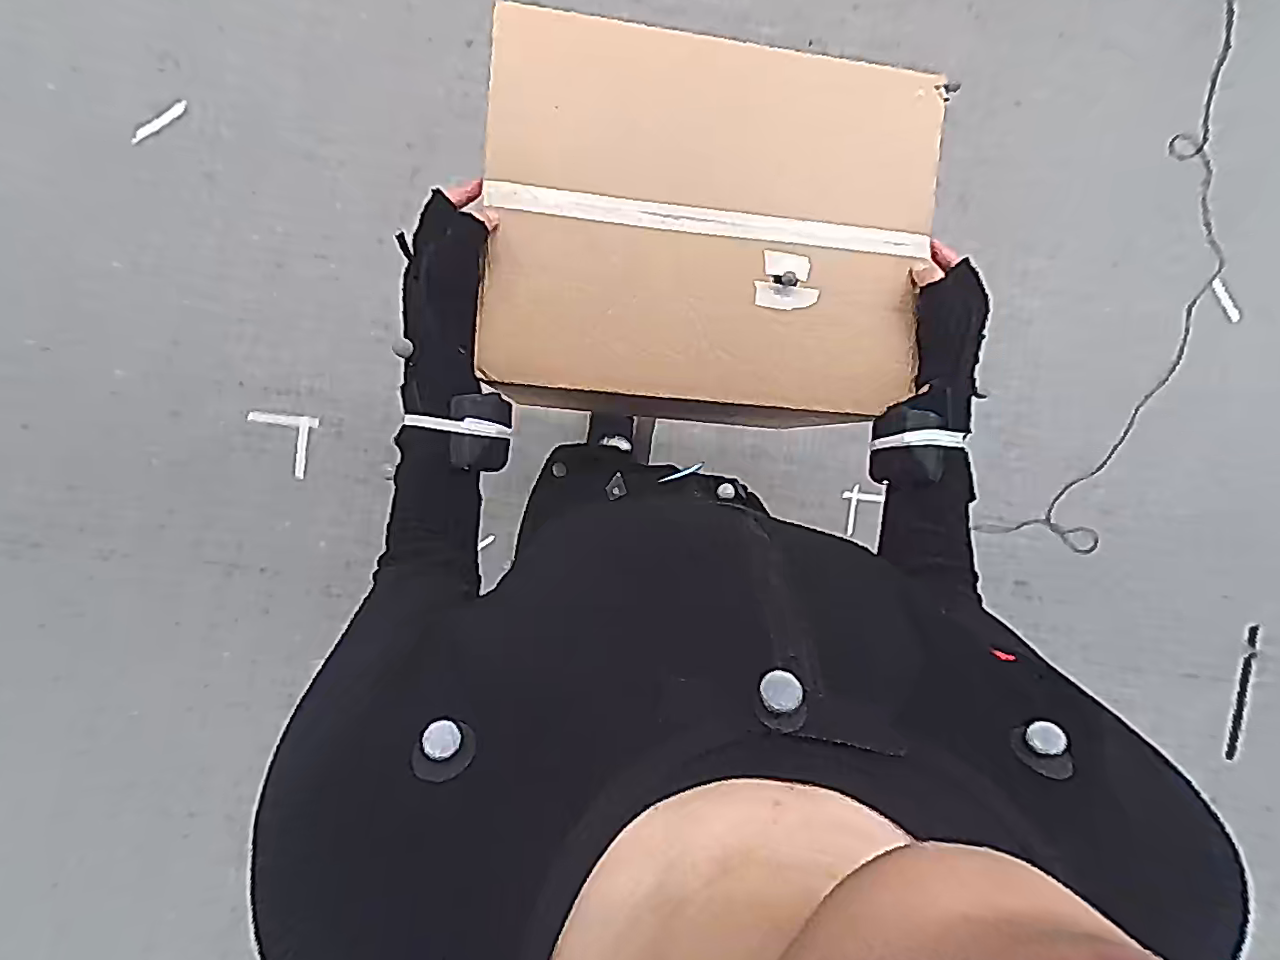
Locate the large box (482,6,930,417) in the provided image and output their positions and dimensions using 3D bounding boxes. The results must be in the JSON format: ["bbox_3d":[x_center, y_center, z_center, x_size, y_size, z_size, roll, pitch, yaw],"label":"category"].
[{"bbox_3d":[0.046,-0.248,0.636,0.408,0.320,0.320,4,94,-8],"label":"large box"}]
